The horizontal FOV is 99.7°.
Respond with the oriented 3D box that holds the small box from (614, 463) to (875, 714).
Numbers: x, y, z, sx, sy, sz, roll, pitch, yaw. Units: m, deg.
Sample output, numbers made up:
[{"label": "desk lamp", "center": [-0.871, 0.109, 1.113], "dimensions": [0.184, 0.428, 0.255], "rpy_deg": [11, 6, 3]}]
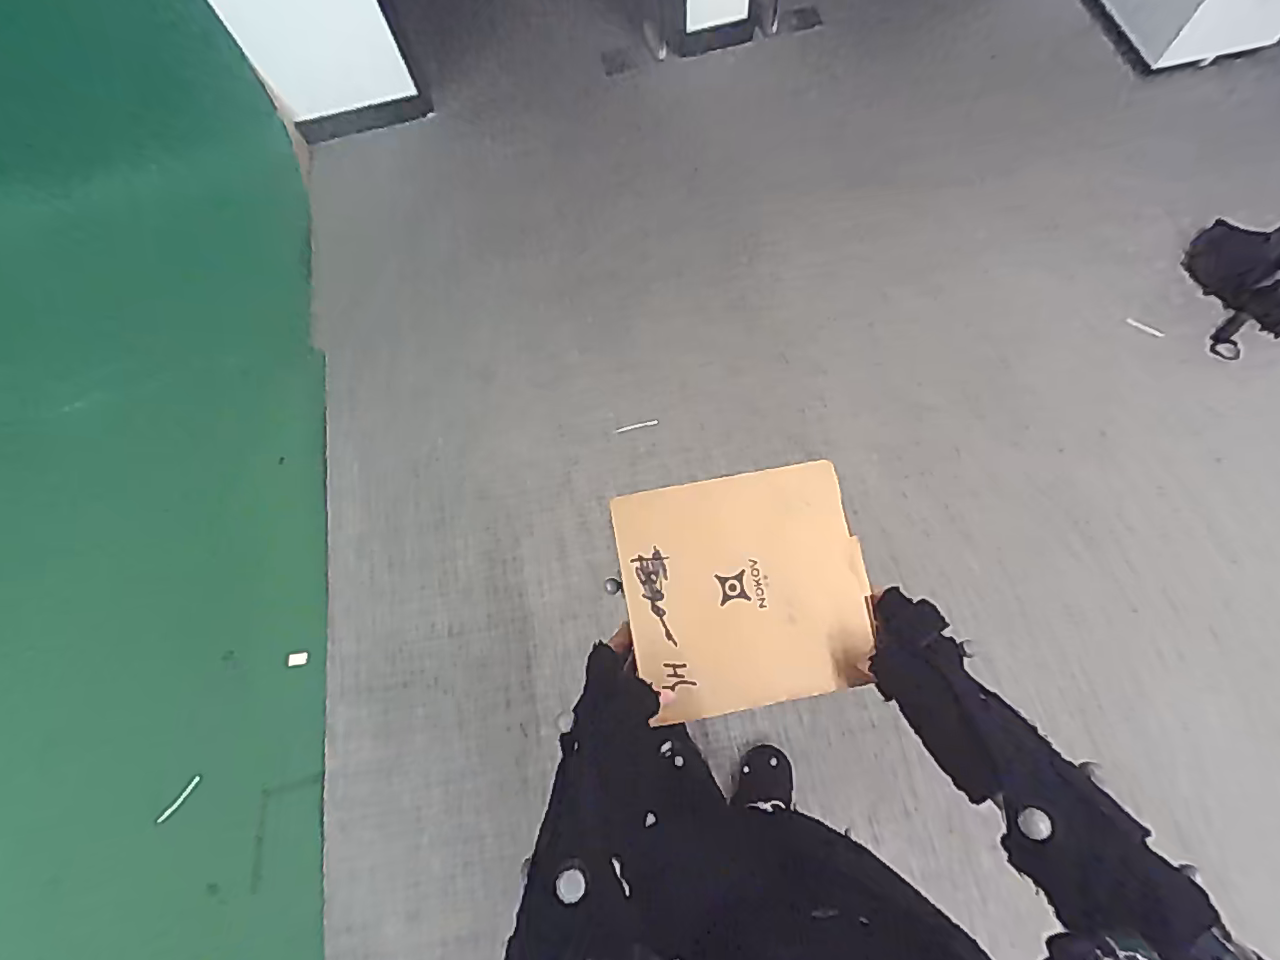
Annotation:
[{"label": "small box", "center": [0.073, 0.091, 0.484], "dimensions": [0.179, 0.176, 0.168], "rpy_deg": [-9, 79, -3]}]
